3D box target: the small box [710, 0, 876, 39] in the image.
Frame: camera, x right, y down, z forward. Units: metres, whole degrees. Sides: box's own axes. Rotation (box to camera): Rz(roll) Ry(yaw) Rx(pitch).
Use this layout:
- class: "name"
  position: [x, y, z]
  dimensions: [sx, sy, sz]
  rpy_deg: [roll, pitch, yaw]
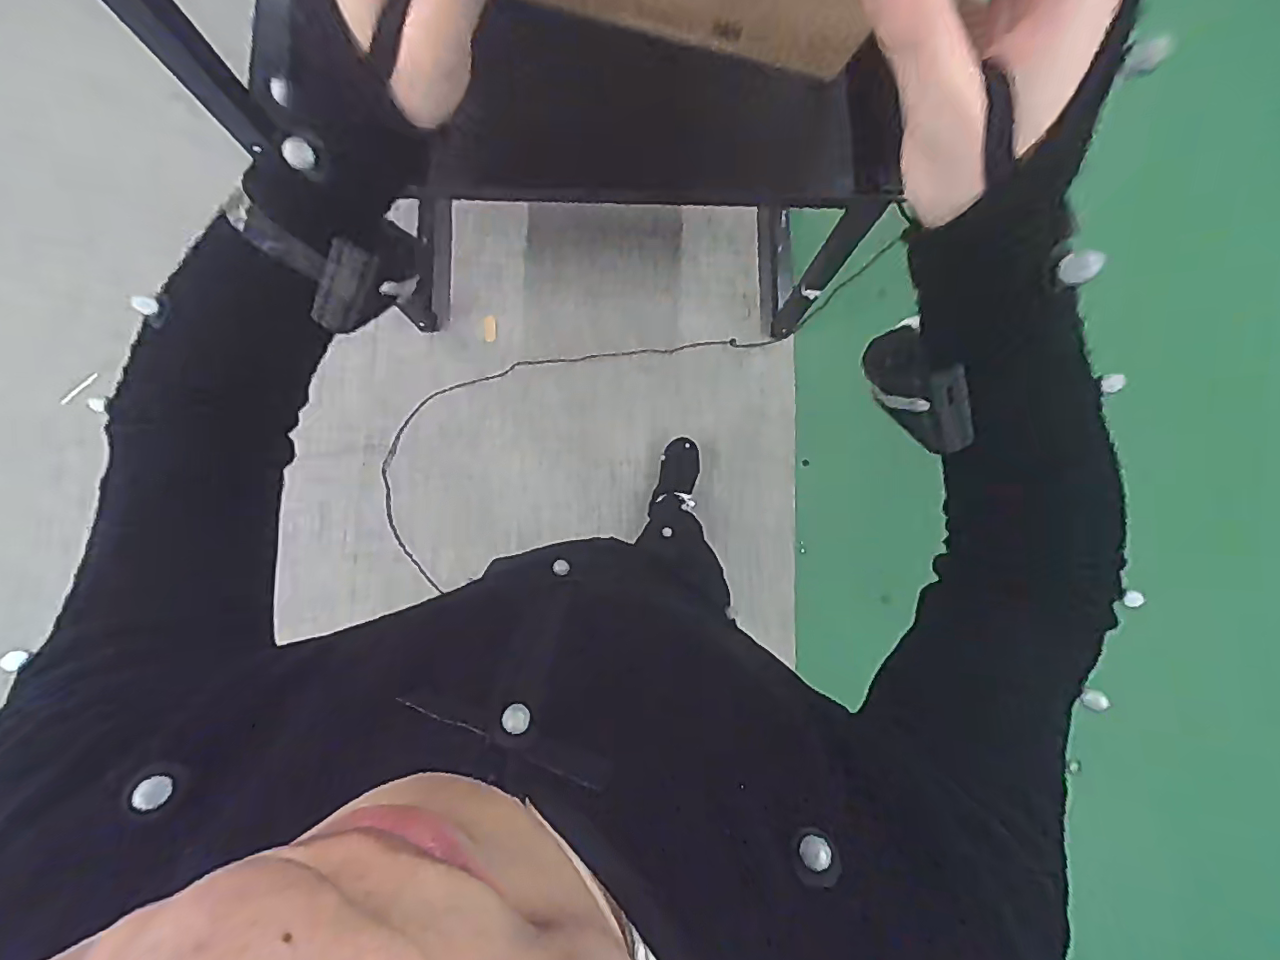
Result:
- class: "small box"
  position: [0.043, -0.283, 0.161]
  dimensions: [0.168, 0.176, 0.179]
  rpy_deg: [12, 106, -3]
